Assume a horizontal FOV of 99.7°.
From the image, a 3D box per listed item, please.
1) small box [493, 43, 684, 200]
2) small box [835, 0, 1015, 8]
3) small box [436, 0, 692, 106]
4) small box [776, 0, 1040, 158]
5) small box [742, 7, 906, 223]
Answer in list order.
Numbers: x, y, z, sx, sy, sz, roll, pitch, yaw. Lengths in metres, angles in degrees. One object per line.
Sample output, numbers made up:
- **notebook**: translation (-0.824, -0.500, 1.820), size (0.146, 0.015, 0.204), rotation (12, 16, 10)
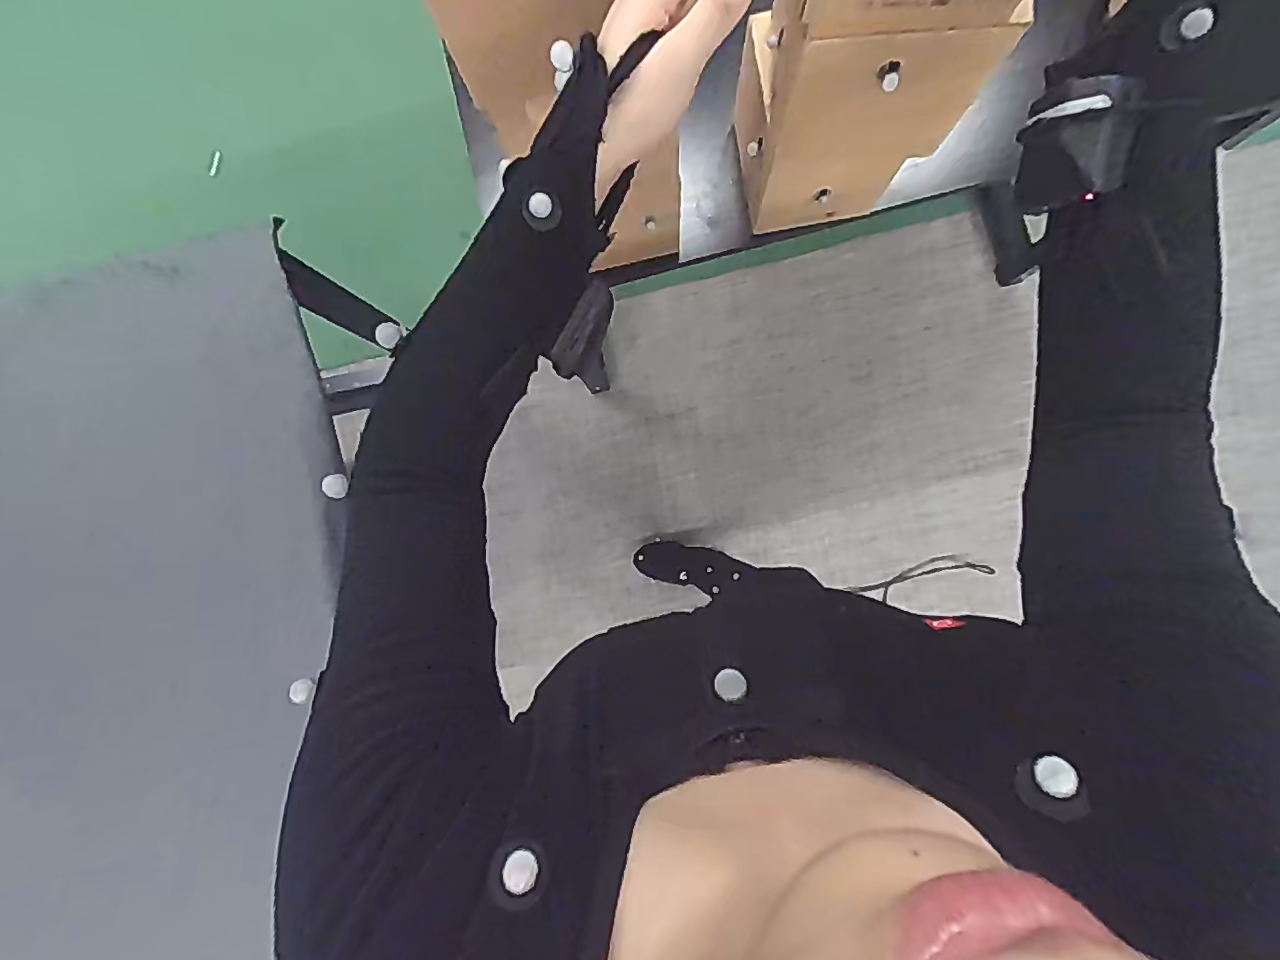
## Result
- **small box**: translation (-0.049, -0.401, 0.526), size (0.168, 0.176, 0.179), rotation (-10, 86, 3)
- **small box**: translation (0.211, -0.451, 0.346), size (0.168, 0.176, 0.179), rotation (3, 89, 5)
- **small box**: translation (-0.058, -0.399, 0.364), size (0.179, 0.176, 0.168), rotation (-9, 86, 4)
- **small box**: translation (0.232, -0.433, 0.508), size (0.179, 0.176, 0.168), rotation (-1, 89, 4)
- **small box**: translation (0.227, -0.444, 0.672), size (0.168, 0.176, 0.179), rotation (-9, 87, 3)
